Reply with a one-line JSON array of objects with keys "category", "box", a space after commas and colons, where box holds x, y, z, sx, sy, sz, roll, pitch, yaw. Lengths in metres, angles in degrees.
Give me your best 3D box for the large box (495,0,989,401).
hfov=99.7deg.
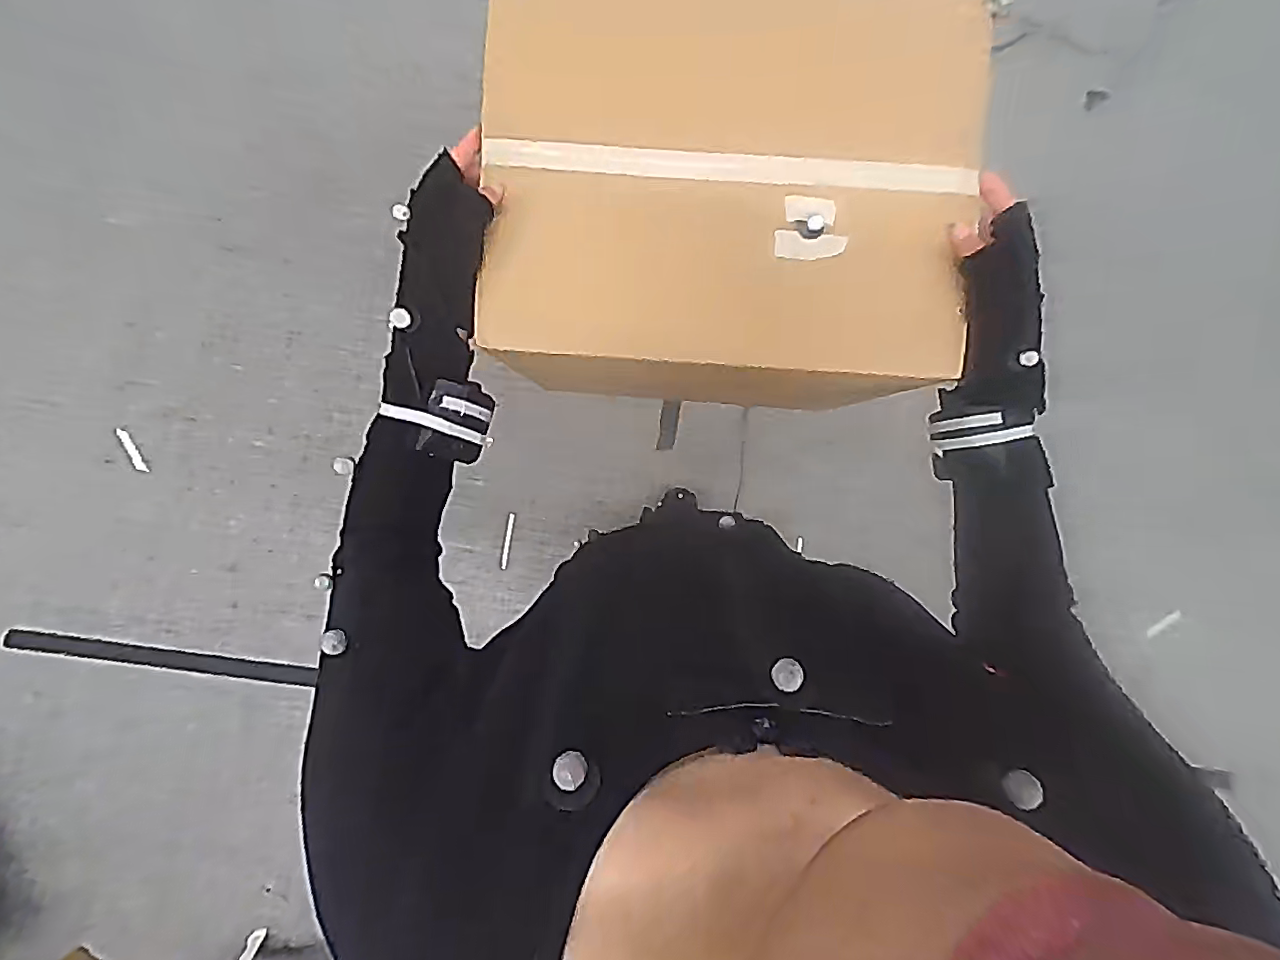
[{"category": "large box", "box": [0.079, -0.264, 0.595, 0.408, 0.320, 0.320, 4, 93, -1]}]
